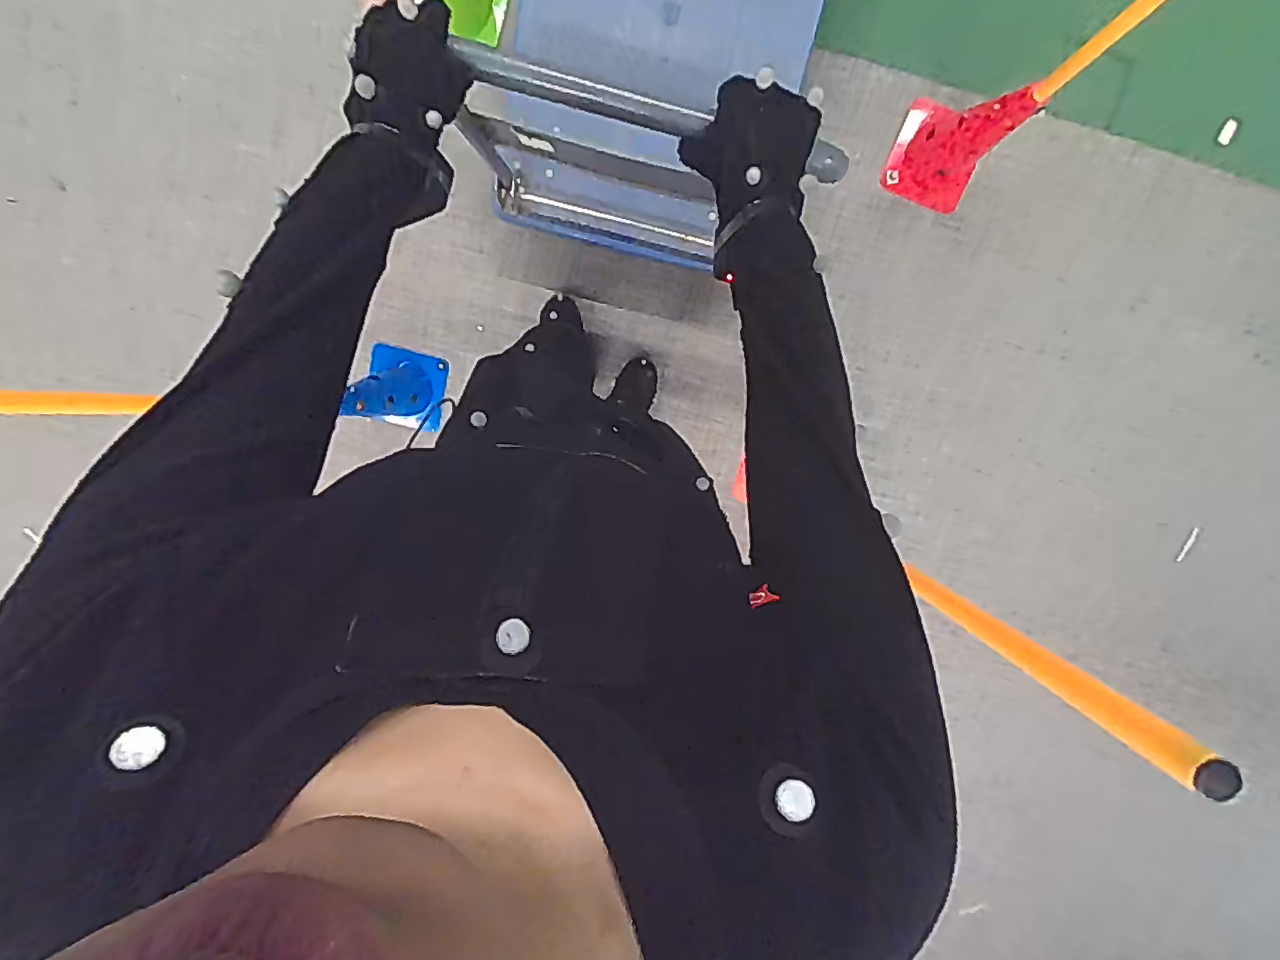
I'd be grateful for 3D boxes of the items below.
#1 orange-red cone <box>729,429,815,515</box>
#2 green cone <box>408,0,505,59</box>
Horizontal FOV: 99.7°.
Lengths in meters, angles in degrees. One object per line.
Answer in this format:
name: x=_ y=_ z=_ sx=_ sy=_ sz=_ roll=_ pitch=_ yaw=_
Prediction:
orange-red cone: x=0.356 y=0.015 z=1.316 sx=0.199 sy=0.360 sz=0.198 roll=14 pitch=104 yaw=-2
green cone: x=-0.403 y=-1.027 z=1.031 sx=0.202 sy=0.368 sz=0.200 roll=19 pitch=104 yaw=-4
